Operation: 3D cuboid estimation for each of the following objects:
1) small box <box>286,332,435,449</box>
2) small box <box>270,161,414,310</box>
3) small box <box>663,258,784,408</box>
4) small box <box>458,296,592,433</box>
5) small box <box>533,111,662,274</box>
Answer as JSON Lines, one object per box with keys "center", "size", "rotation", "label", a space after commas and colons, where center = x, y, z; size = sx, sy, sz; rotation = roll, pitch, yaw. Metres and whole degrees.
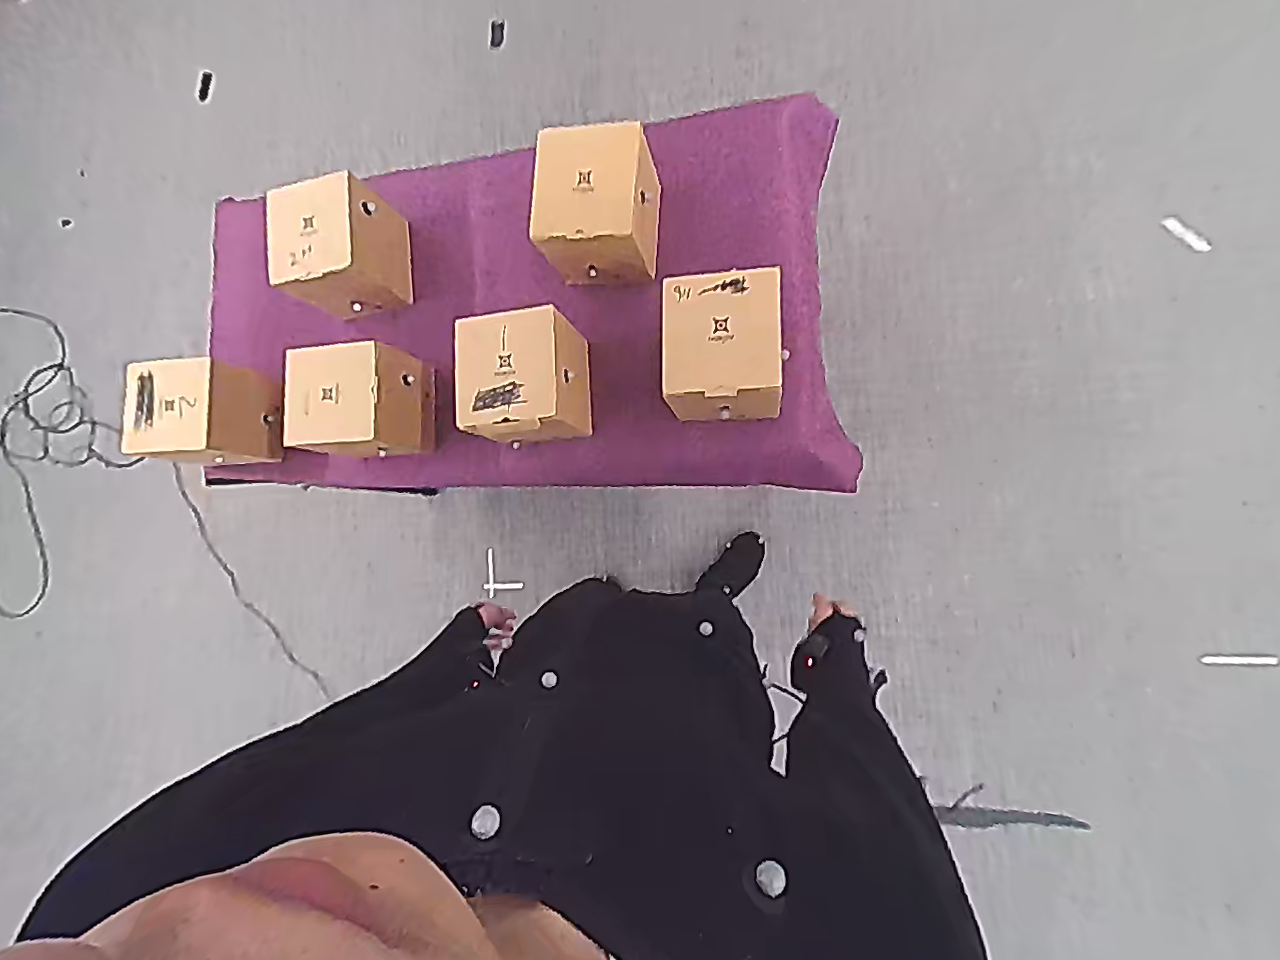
{"center": [-0.482, -0.149, 0.954], "size": [0.179, 0.176, 0.168], "rotation": [-2, 85, 12], "label": "small box"}
{"center": [-0.537, -0.436, 0.990], "size": [0.168, 0.176, 0.179], "rotation": [-6, 85, 12], "label": "small box"}
{"center": [0.133, -0.208, 0.819], "size": [0.168, 0.176, 0.179], "rotation": [0, 84, 13], "label": "small box"}
{"center": [-0.180, -0.177, 0.889], "size": [0.168, 0.176, 0.179], "rotation": [-4, 84, 12], "label": "small box"}
{"center": [-0.060, -0.460, 0.887], "size": [0.168, 0.176, 0.179], "rotation": [4, 88, 13], "label": "small box"}
